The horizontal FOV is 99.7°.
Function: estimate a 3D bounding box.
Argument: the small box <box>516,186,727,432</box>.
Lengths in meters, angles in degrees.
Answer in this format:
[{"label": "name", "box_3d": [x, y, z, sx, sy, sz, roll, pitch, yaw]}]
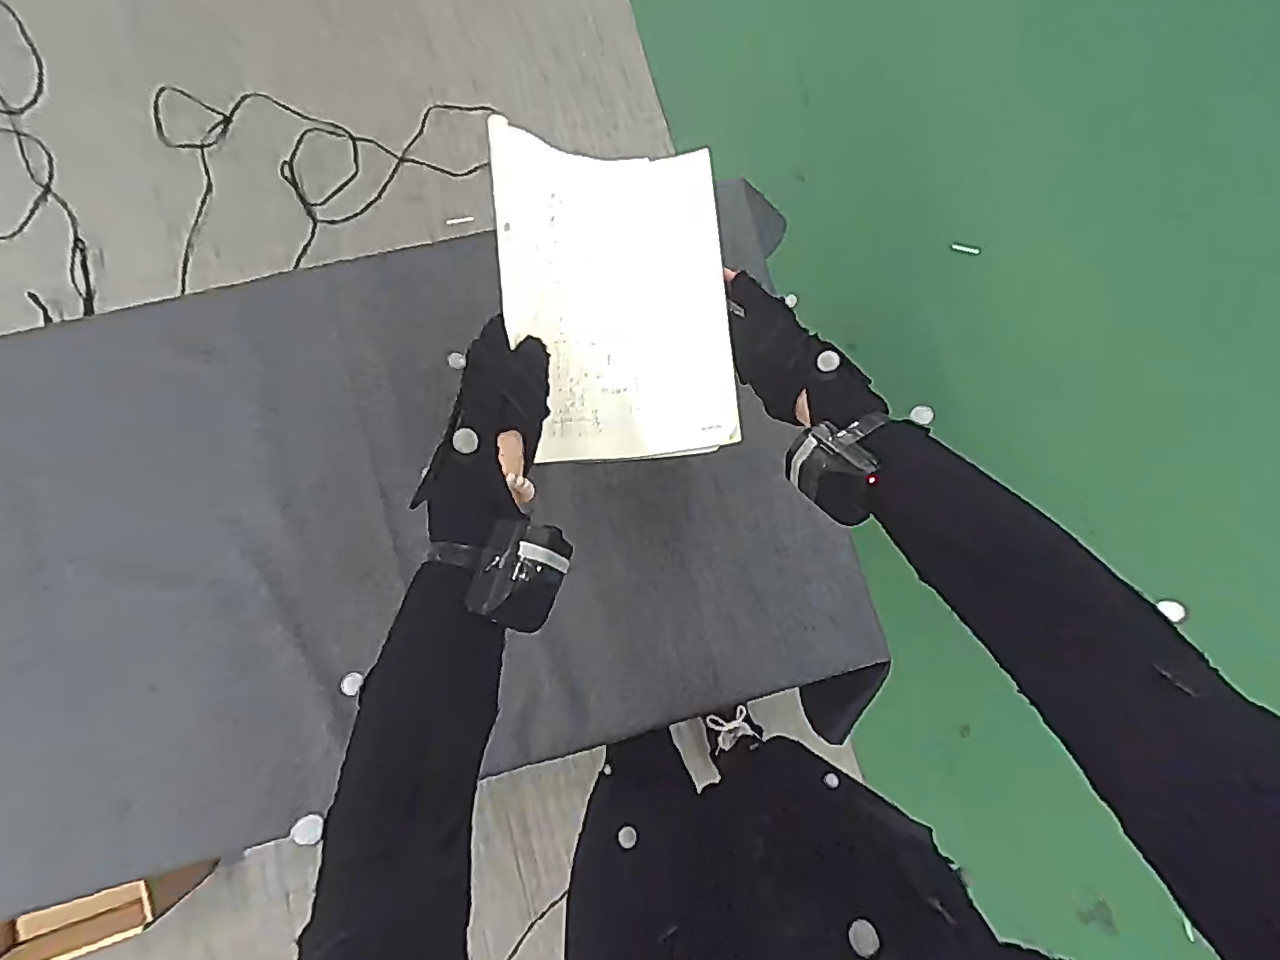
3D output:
[{"label": "small box", "box_3d": [-0.022, -0.163, 0.562, 0.168, 0.176, 0.179, -11, 84, -3]}]
